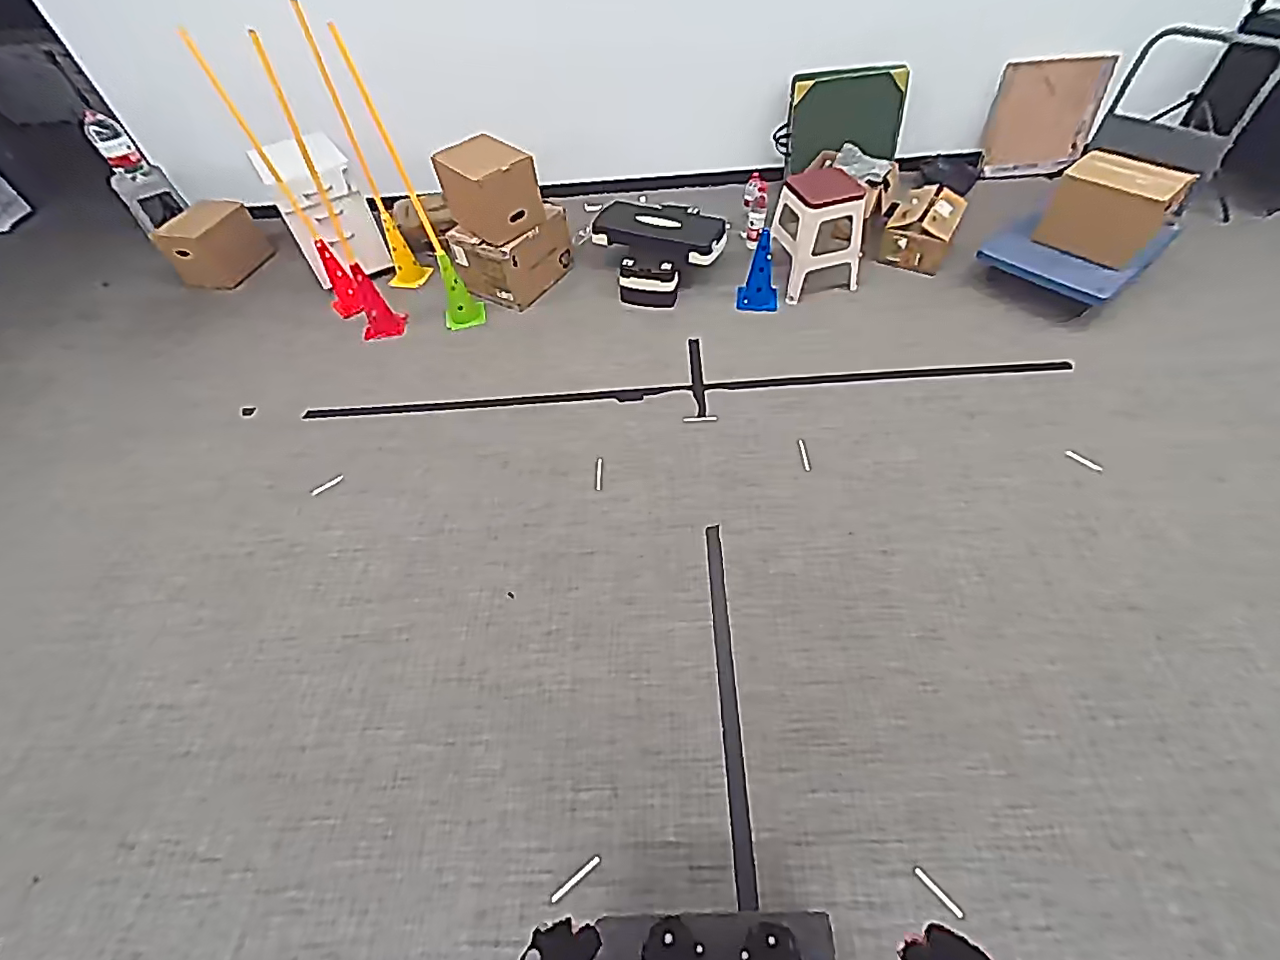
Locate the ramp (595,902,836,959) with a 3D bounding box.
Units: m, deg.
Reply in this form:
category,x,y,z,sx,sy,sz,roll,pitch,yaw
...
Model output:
category,x,y,z,sx,sy,sz,roll,pitch,yaw
ramp,0.169,1.337,0.908,0.509,0.206,0.991,-4,52,0
